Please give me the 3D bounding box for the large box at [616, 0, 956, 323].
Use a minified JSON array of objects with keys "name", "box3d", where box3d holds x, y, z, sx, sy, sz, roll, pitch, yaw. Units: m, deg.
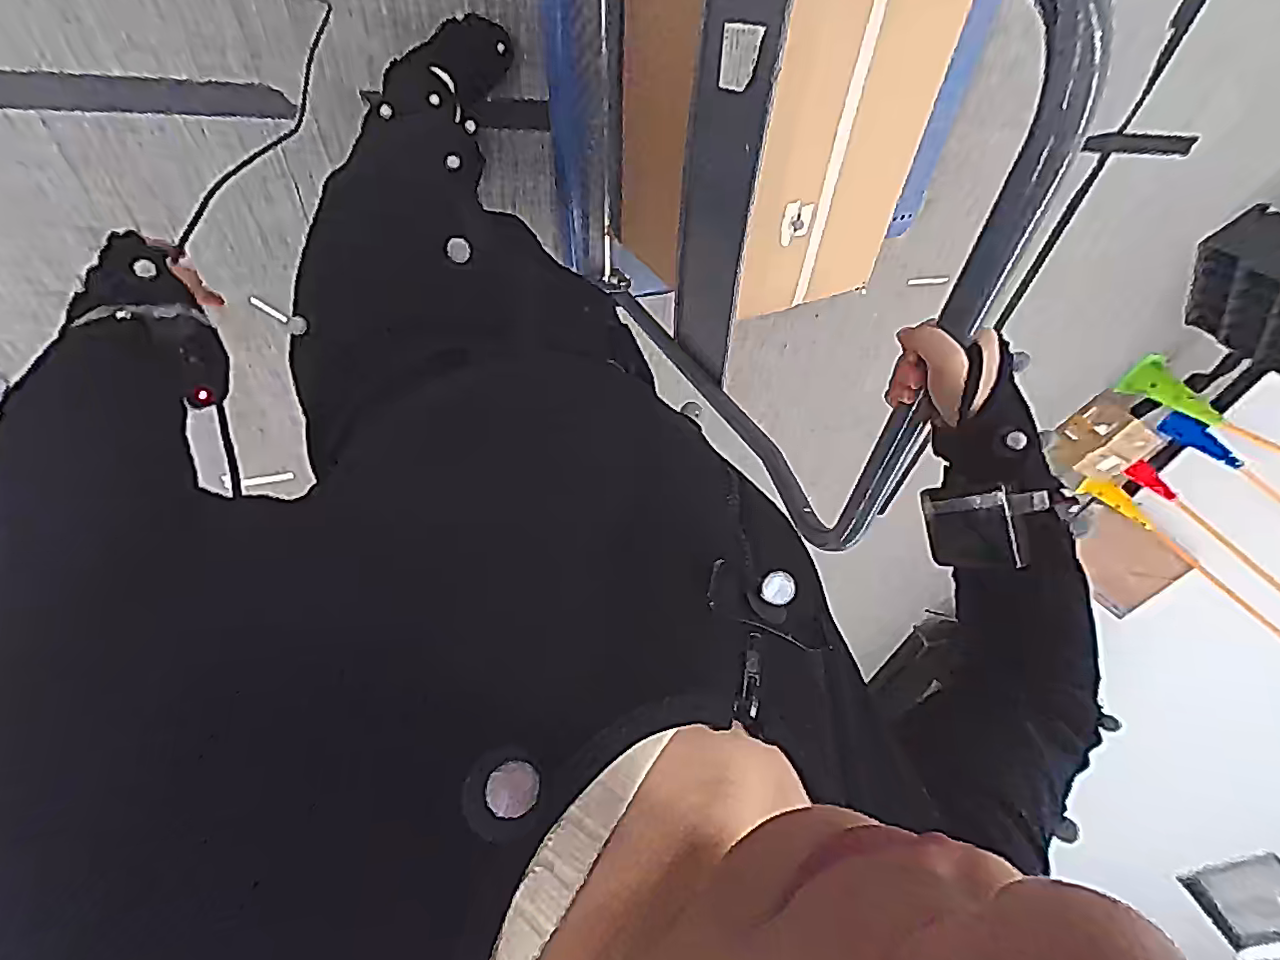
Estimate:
[{"name":"large box","box3d":[0.166,-0.512,0.793,0.320,0.320,0.408,-20,142,-20]}]
